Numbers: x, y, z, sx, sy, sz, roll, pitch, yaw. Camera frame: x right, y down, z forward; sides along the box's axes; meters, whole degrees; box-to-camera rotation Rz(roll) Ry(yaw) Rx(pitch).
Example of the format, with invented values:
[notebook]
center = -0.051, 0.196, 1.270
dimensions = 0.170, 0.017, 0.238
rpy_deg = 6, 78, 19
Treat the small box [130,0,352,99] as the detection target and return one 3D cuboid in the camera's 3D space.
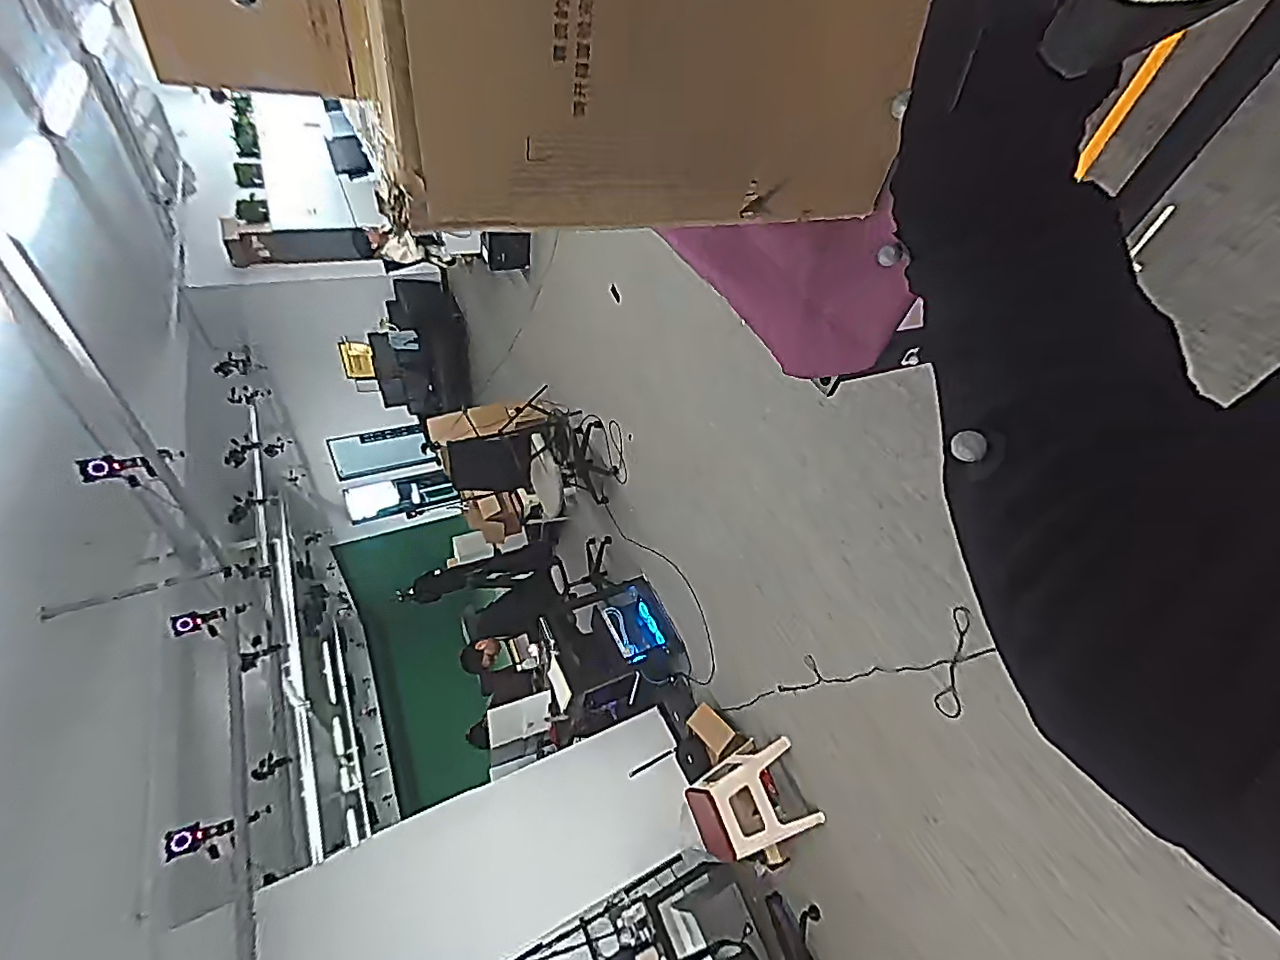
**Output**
[small box]
center = -0.398, -0.491, 0.534
dimensions = 0.179, 0.176, 0.168
rpy_deg = 52, 146, 39
